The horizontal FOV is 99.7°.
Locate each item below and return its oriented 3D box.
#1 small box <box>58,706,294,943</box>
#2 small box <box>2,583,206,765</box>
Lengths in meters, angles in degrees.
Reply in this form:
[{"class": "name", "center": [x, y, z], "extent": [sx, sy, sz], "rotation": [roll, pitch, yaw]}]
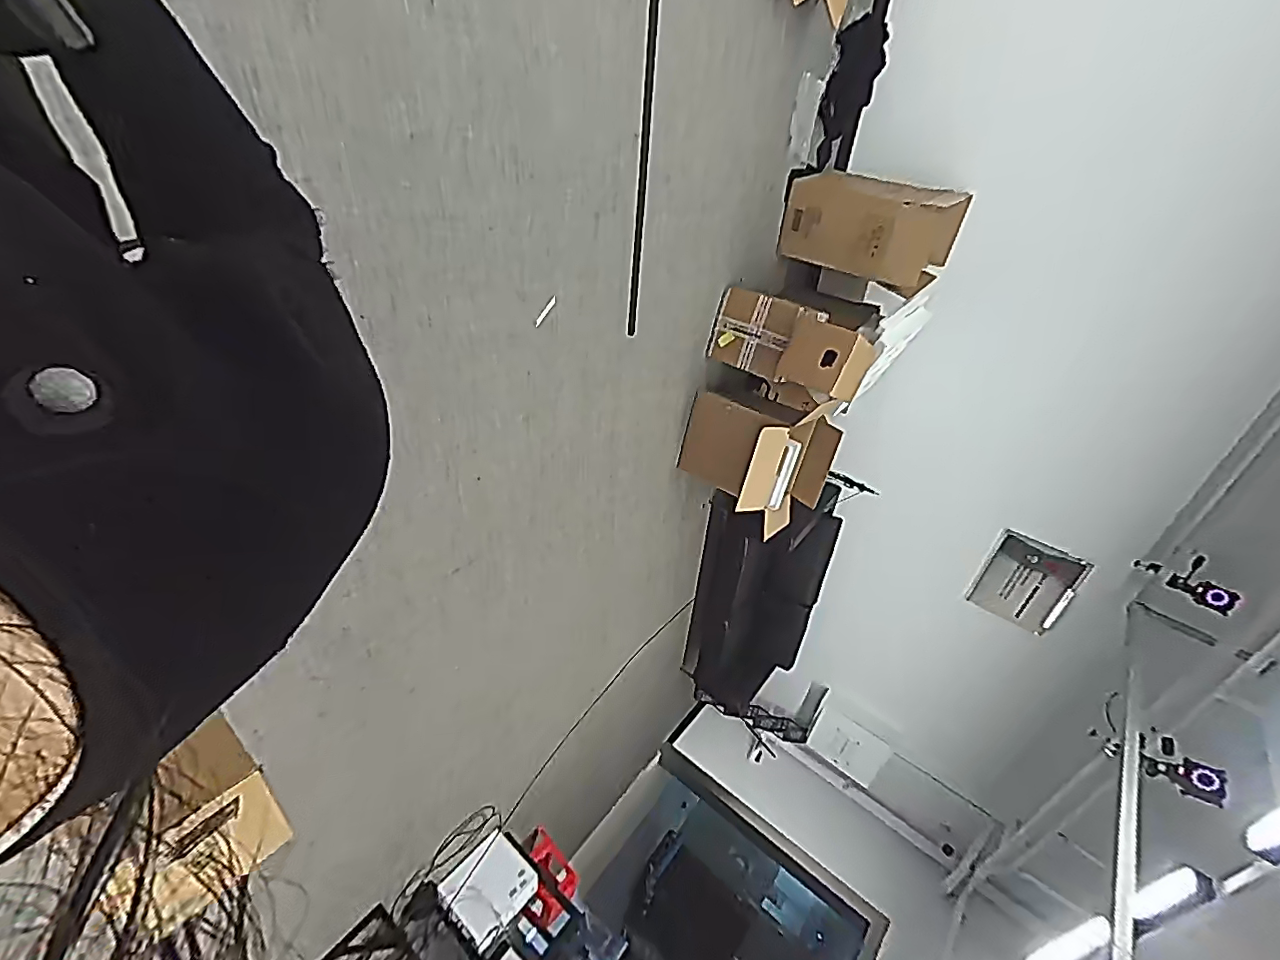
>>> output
[{"class": "small box", "center": [-0.594, 0.428, 0.702], "extent": [0.168, 0.176, 0.179], "rotation": [-31, 138, -43]}, {"class": "small box", "center": [-0.849, 0.300, 0.865], "extent": [0.168, 0.176, 0.179], "rotation": [-33, 138, -42]}]
